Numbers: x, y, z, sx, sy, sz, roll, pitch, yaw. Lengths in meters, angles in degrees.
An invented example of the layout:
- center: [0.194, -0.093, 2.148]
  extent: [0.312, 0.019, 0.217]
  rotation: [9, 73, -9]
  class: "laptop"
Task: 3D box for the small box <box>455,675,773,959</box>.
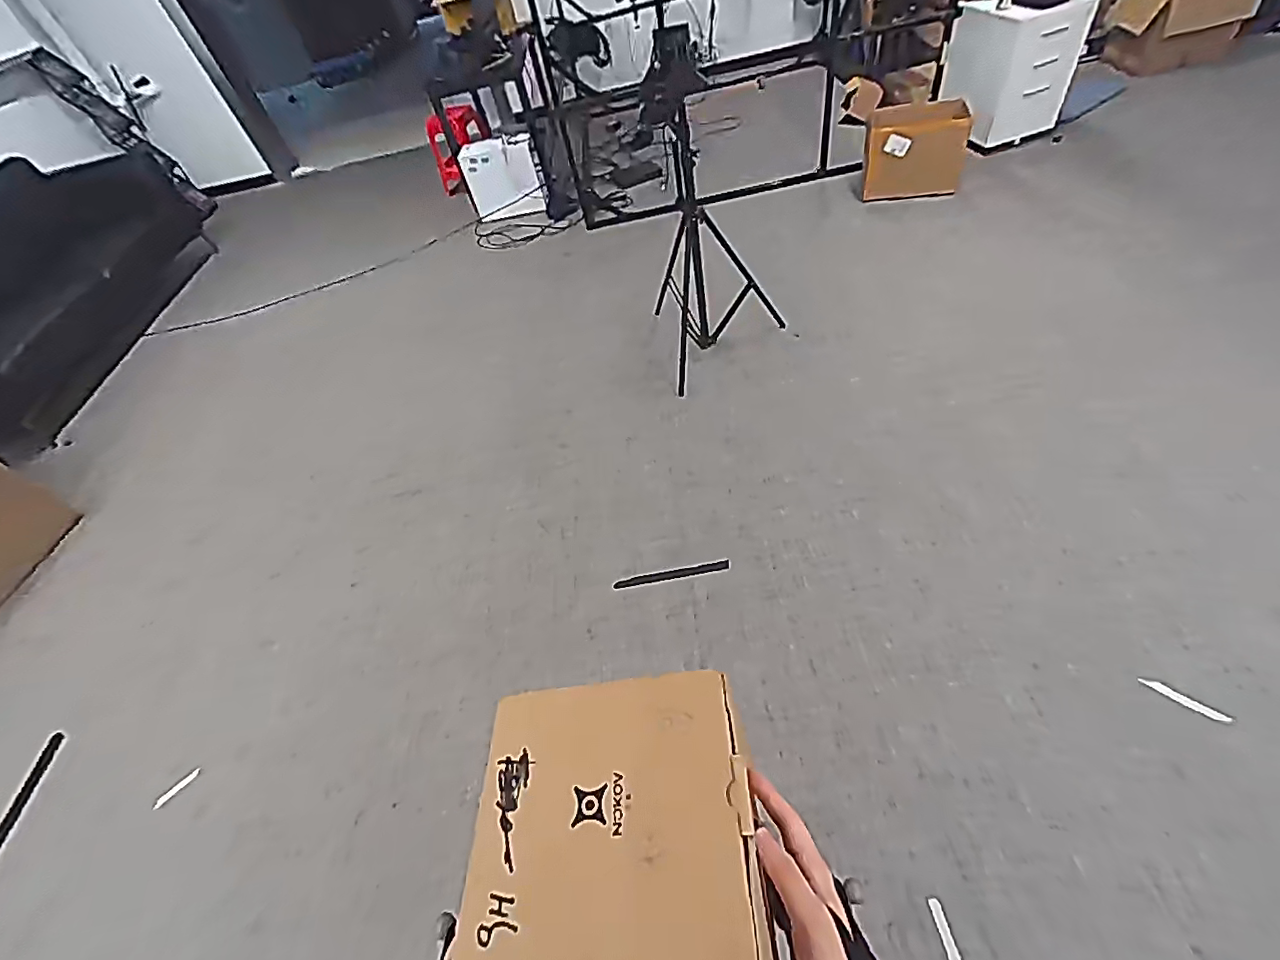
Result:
- center: [-0.003, 0.265, 0.395]
  extent: [0.179, 0.176, 0.168]
  rotation: [-10, 42, 9]
  class: "small box"
